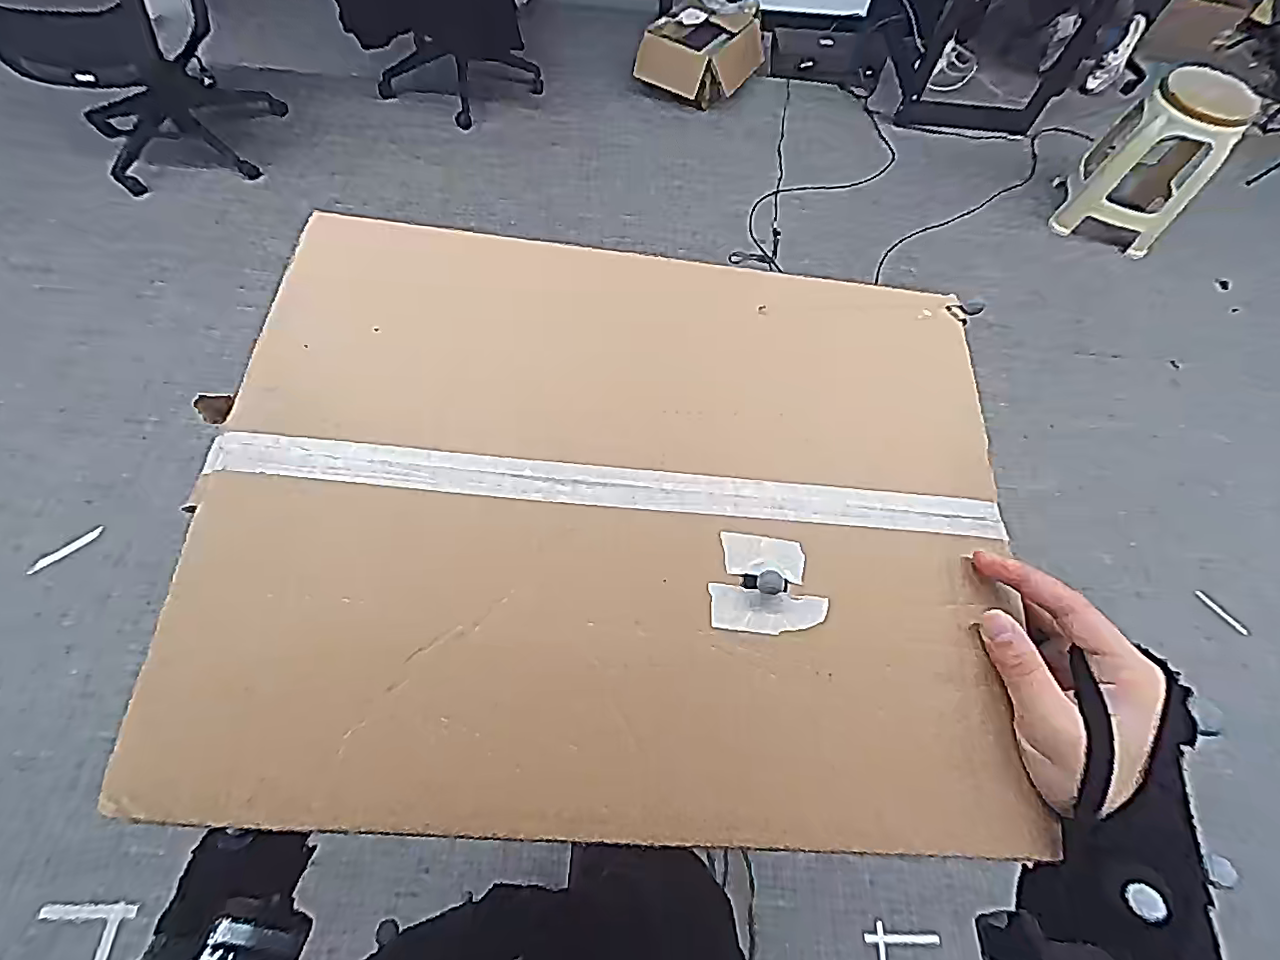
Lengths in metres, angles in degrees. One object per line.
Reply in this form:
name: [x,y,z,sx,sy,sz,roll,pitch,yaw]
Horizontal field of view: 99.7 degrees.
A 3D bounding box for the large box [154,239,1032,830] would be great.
large box: [-0.018,0.062,0.432,0.408,0.320,0.320,6,70,-6]
